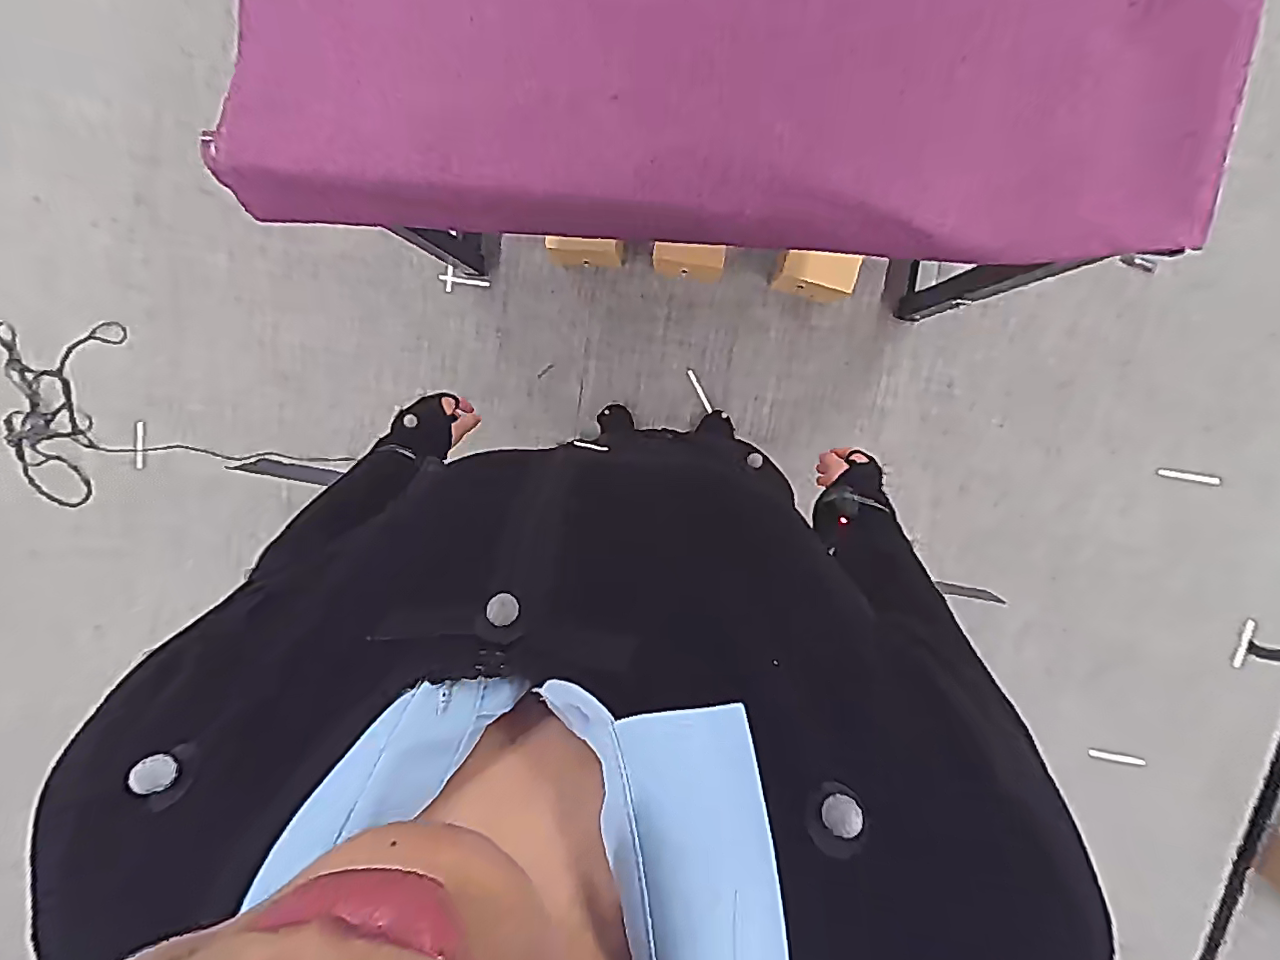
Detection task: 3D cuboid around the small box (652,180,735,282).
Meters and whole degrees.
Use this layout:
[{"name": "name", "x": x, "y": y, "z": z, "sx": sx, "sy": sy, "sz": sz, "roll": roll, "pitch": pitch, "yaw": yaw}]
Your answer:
[{"name": "small box", "x": 0.126, "y": -0.595, "z": 1.313, "sx": 0.168, "sy": 0.176, "sz": 0.179, "roll": 10, "pitch": 98, "yaw": 2}]

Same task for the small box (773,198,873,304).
[{"name": "small box", "x": 0.429, "y": -0.541, "z": 1.304, "sx": 0.168, "sy": 0.176, "sz": 0.179, "roll": 17, "pitch": 99, "yaw": 2}]
